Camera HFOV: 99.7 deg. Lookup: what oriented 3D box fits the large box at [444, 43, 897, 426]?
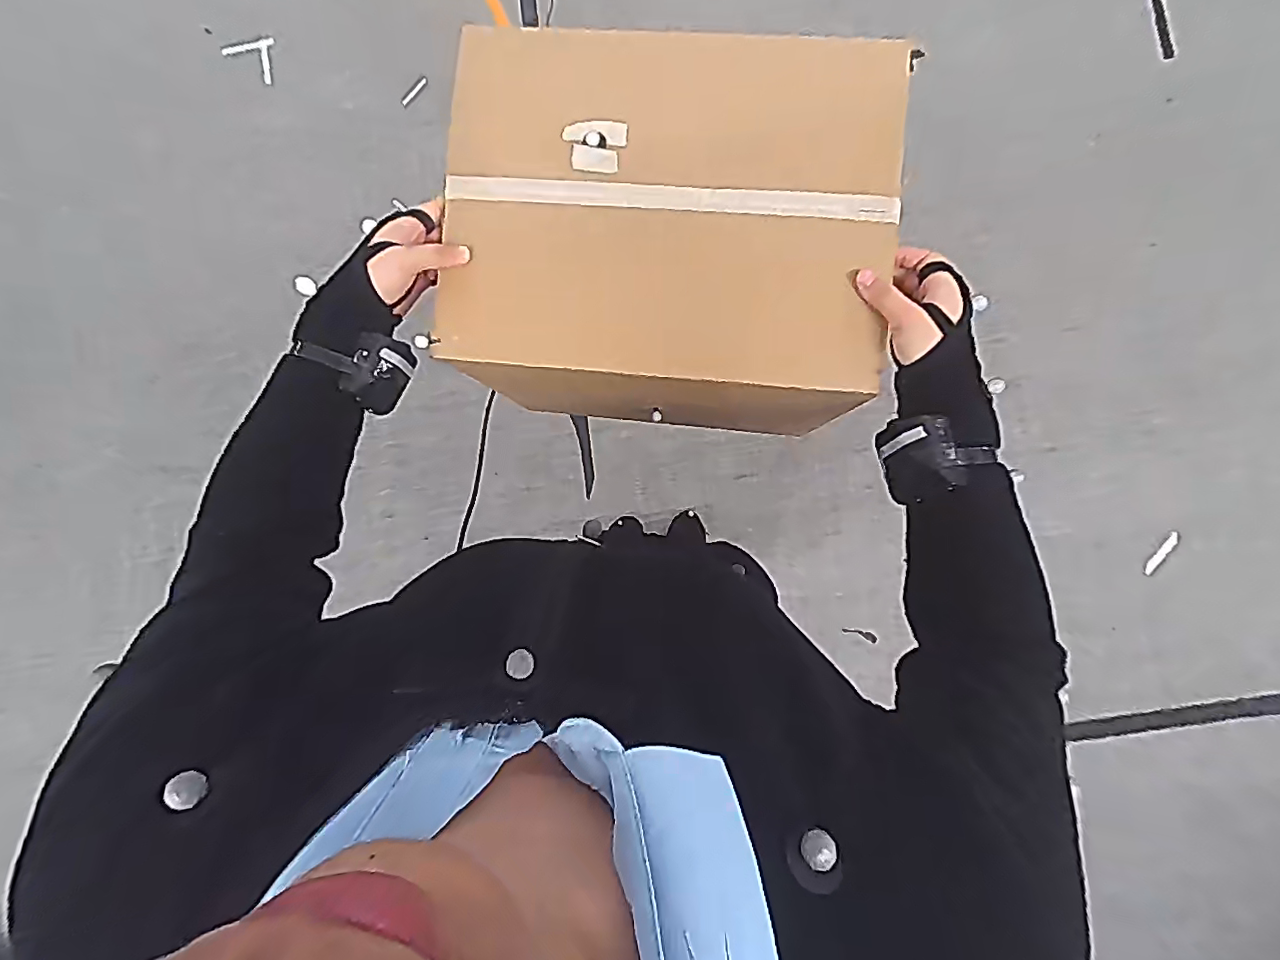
[{"bbox_3d":[0.038,-0.243,0.642,0.408,0.320,0.320,5,87,6],"label":"large box"}]
